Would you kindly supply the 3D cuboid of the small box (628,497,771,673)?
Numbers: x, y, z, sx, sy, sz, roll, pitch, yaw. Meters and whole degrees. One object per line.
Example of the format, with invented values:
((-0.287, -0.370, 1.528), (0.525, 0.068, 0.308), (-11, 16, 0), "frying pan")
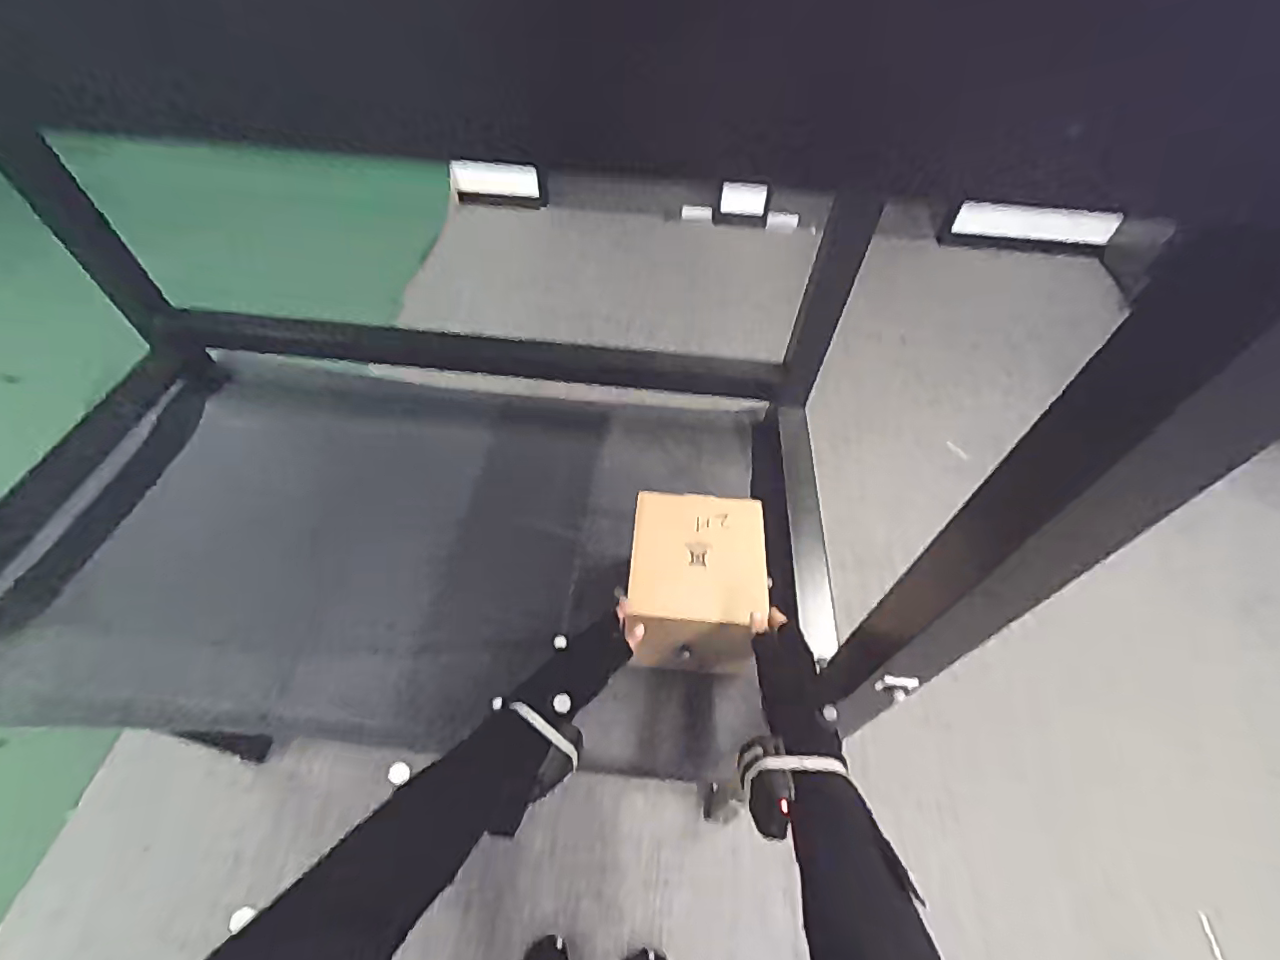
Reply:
((0.074, 0.145, 0.728), (0.168, 0.176, 0.179), (4, 51, 2), "small box")
